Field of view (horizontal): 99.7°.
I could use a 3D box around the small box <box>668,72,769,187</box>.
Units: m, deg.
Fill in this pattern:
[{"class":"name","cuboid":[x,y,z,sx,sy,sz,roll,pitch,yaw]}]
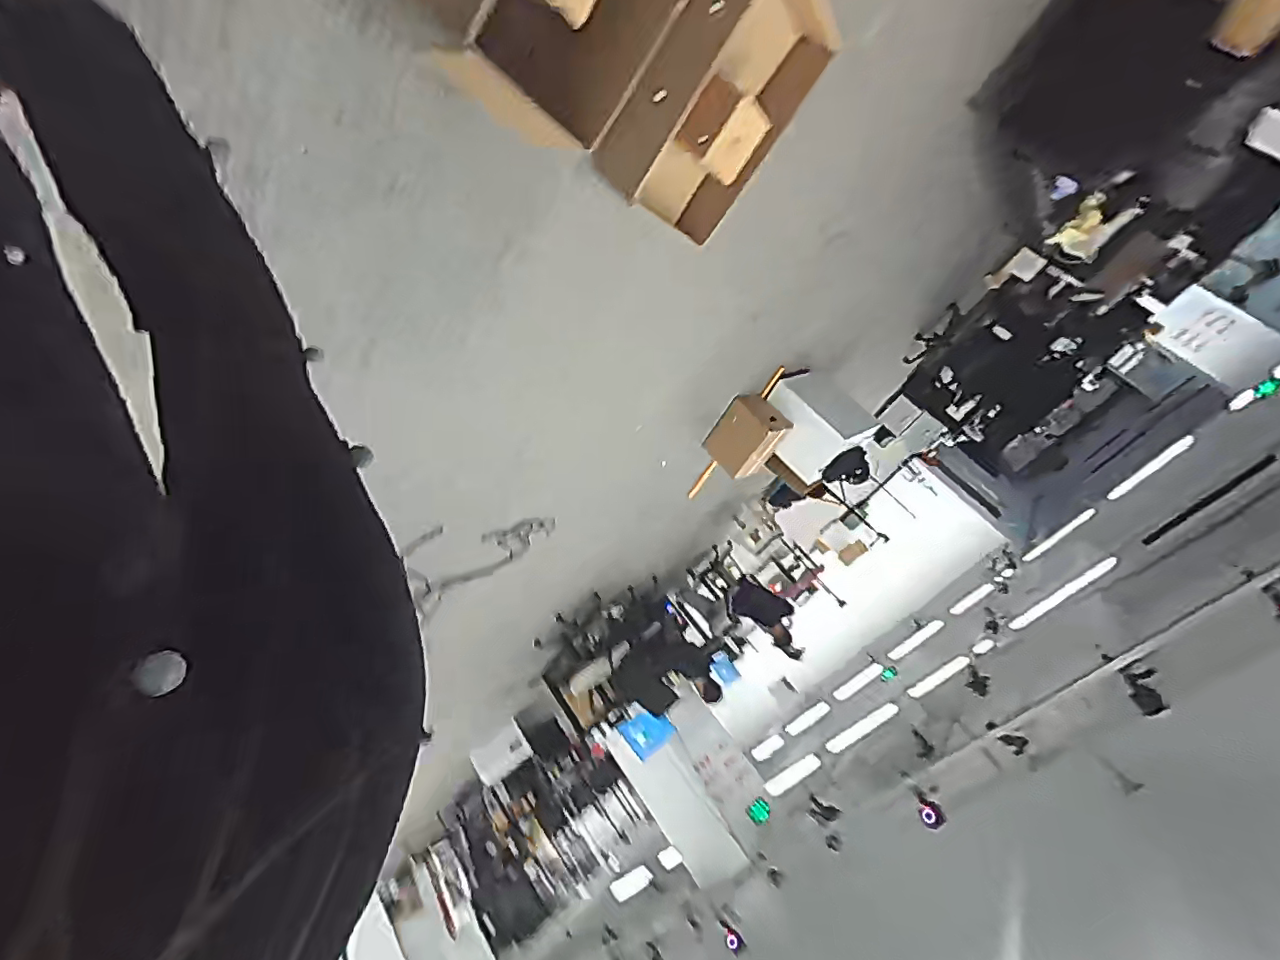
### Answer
[{"class":"small box","cuboid":[0.207,-0.937,1.447,0.179,0.176,0.168,-52,156,24]}]
